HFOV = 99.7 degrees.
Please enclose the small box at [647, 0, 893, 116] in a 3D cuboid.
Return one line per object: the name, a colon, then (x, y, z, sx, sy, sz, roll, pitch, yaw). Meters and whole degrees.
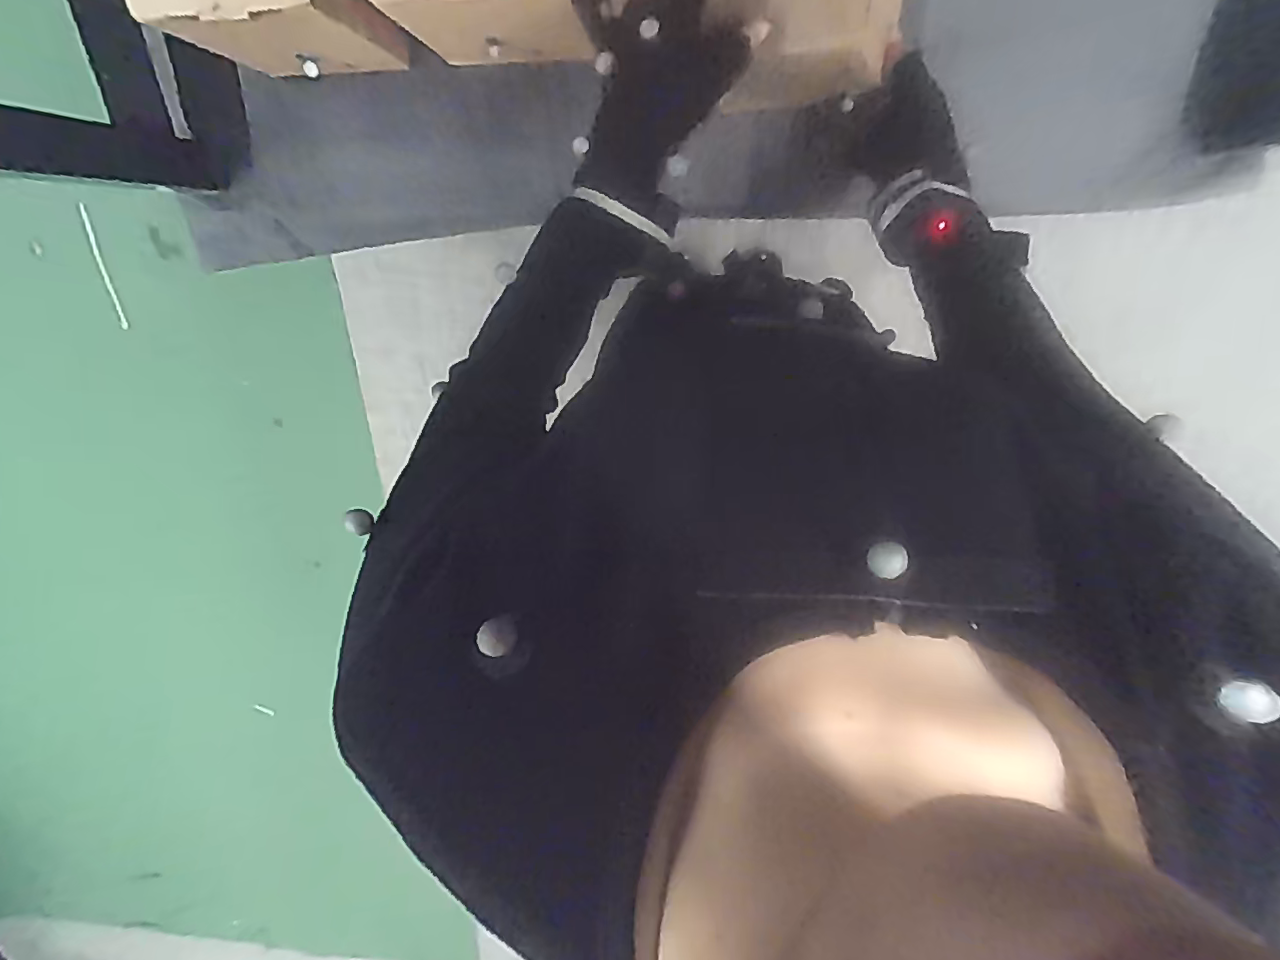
small box: (0.119, -0.428, 0.448, 0.176, 0.168, 0.179, 13, 116, 25)
